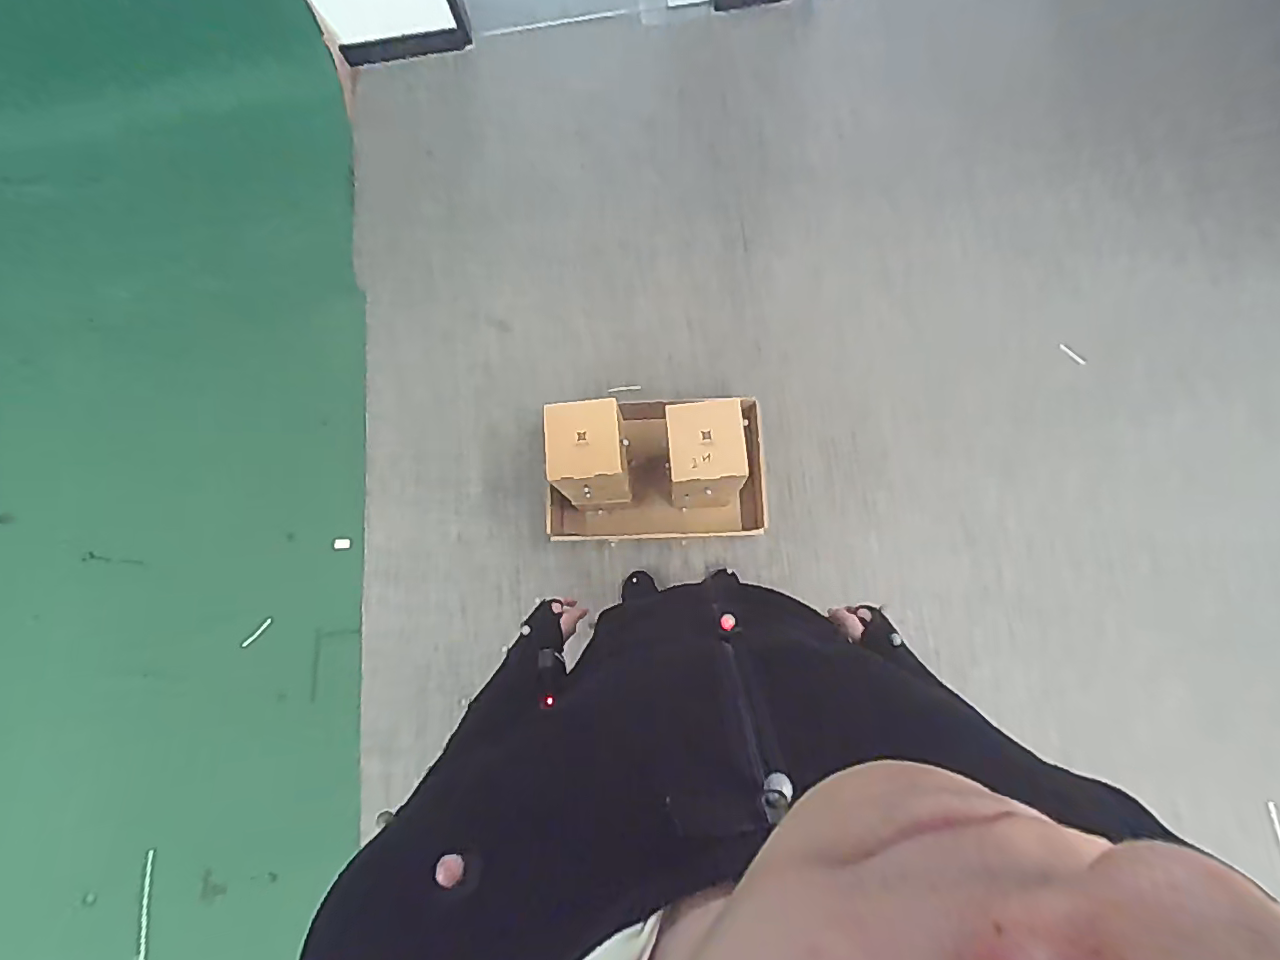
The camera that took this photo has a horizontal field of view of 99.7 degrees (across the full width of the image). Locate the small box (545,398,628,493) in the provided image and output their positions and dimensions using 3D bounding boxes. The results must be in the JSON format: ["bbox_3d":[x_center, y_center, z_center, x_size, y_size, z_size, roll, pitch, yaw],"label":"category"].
[{"bbox_3d":[-0.120,-0.075,1.253,0.168,0.176,0.179,-5,79,3],"label":"small box"}]

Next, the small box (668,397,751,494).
[{"bbox_3d":[0.152,-0.073,1.229,0.168,0.176,0.179,-5,79,4],"label":"small box"}]

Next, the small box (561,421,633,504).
[{"bbox_3d":[-0.109,-0.041,1.411,0.168,0.176,0.179,-4,77,4],"label":"small box"}]
